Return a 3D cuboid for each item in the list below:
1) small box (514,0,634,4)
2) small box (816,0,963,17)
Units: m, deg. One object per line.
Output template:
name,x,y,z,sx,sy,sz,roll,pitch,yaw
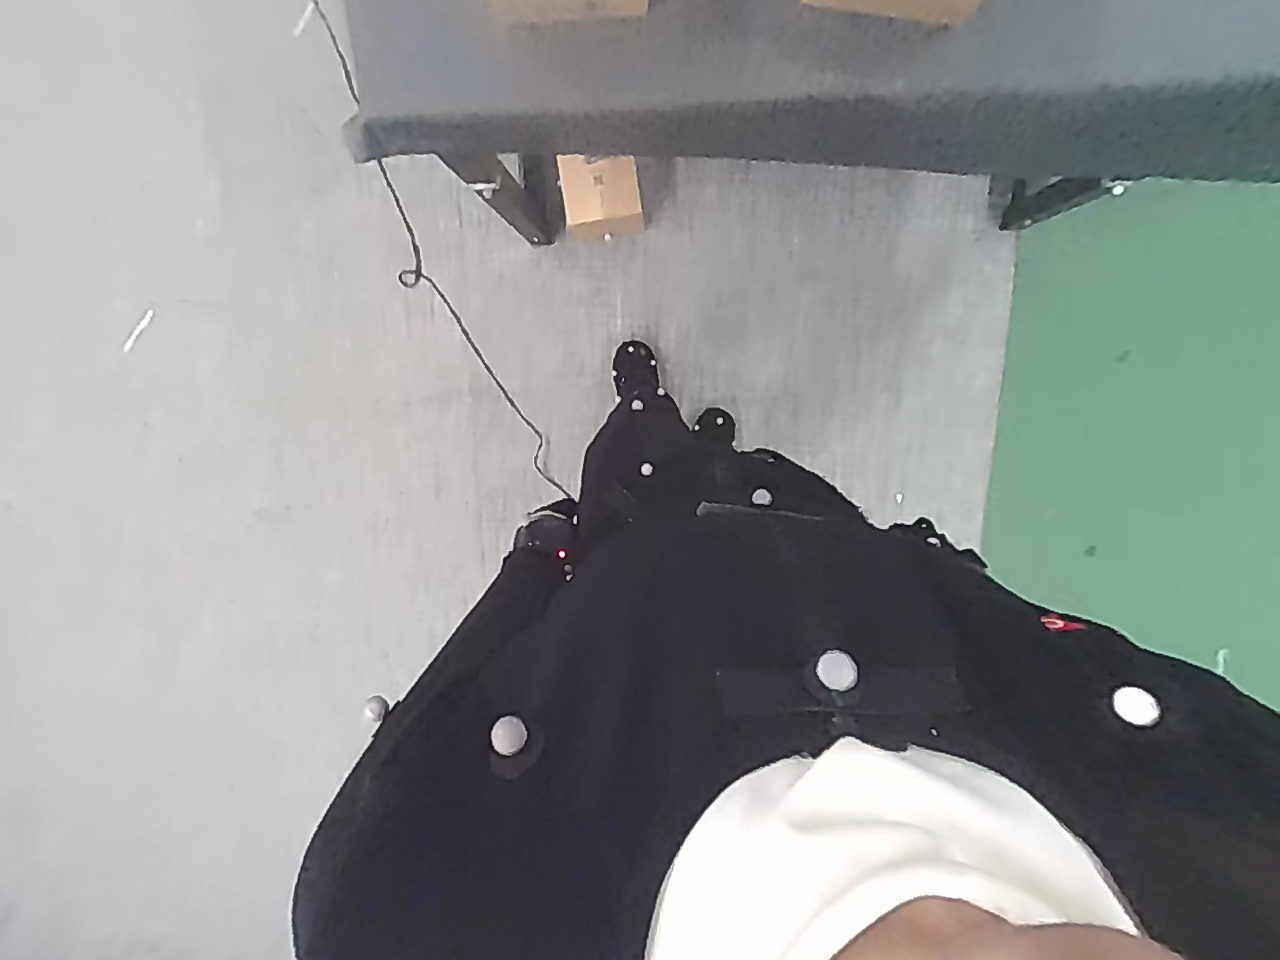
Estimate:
small box,-0.078,-0.586,0.499,0.168,0.176,0.179,-2,100,2
small box,0.269,-0.573,0.493,0.179,0.176,0.168,9,100,1
